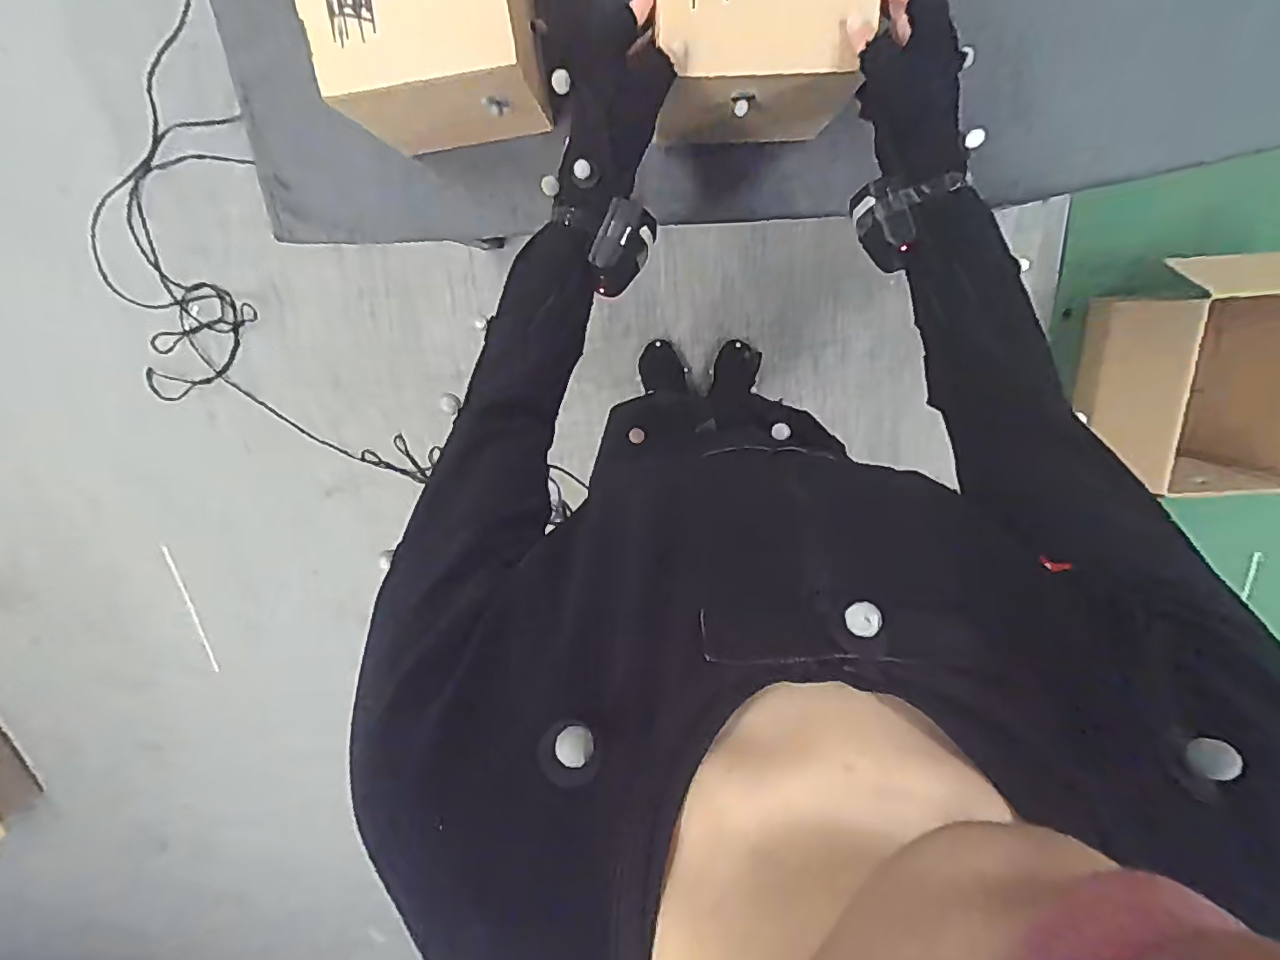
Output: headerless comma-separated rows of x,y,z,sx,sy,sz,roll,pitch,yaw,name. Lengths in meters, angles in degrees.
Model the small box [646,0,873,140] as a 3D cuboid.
0.094,-0.422,0.485,0.179,0.176,0.168,-2,107,1,small box
